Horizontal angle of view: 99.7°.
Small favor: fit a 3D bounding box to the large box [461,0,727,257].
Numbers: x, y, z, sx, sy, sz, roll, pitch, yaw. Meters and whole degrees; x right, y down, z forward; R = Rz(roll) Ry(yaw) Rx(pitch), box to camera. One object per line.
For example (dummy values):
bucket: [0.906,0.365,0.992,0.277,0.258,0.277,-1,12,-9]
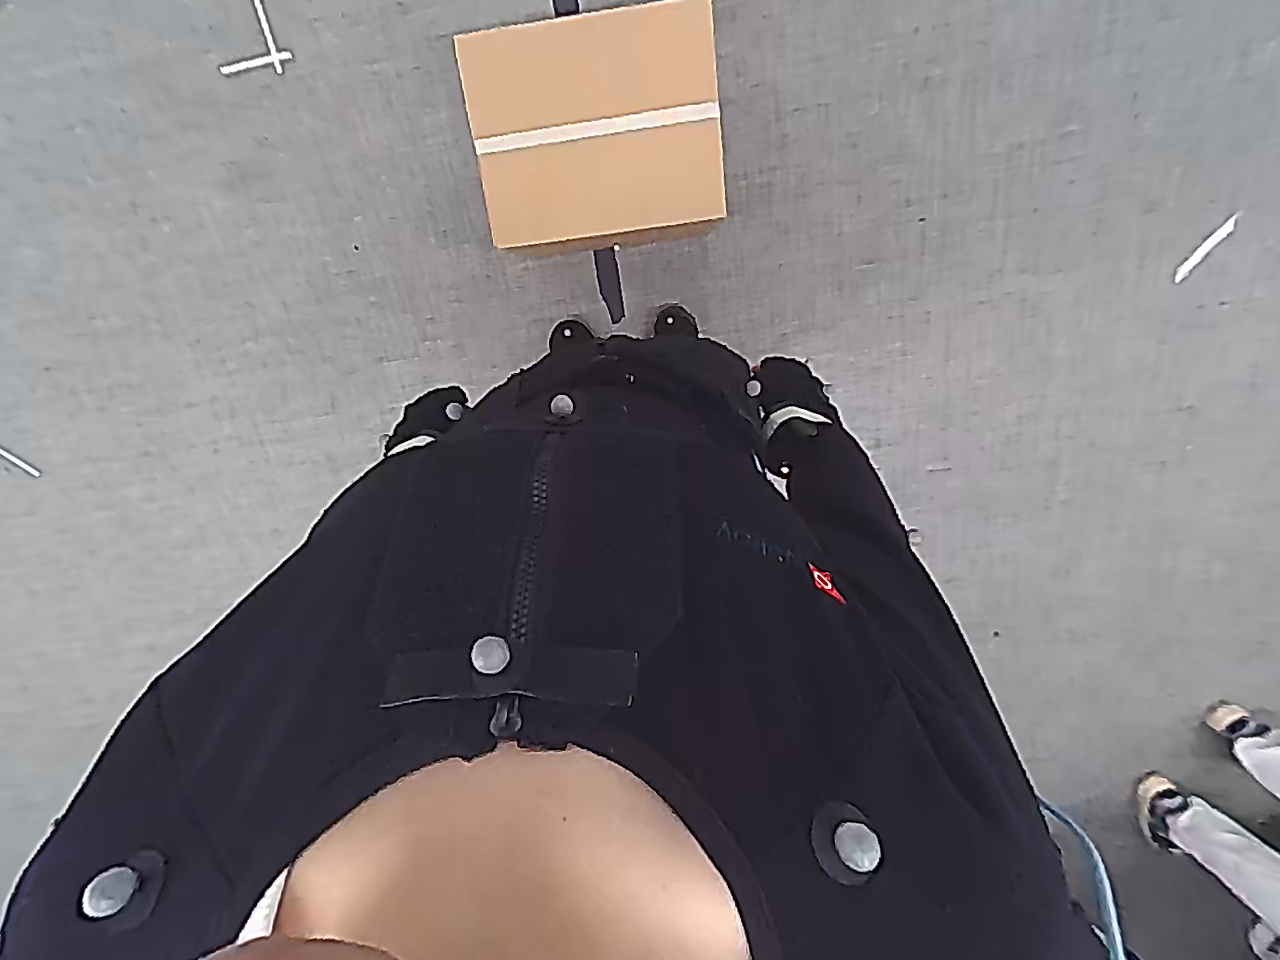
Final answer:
large box: [-0.066,-0.624,1.028,0.408,0.320,0.320,-7,110,3]
